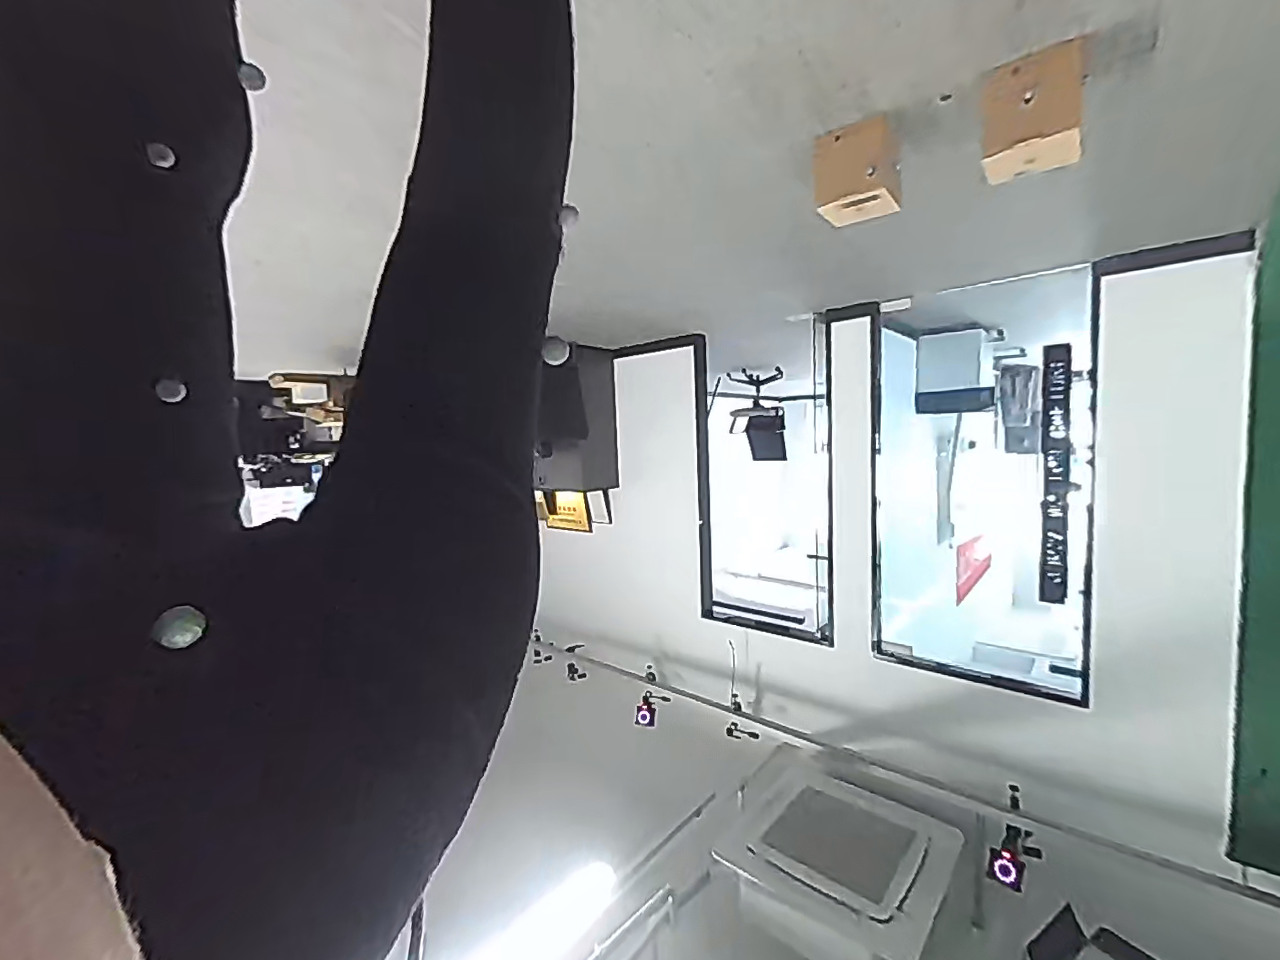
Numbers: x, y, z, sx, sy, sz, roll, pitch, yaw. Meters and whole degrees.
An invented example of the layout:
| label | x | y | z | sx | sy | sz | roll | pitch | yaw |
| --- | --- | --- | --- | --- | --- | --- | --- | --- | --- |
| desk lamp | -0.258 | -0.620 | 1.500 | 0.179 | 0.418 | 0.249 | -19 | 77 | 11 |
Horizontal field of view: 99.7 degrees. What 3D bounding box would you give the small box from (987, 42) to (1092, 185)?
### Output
| label | x | y | z | sx | sy | sz | roll | pitch | yaw |
| --- | --- | --- | --- | --- | --- | --- | --- | --- | --- |
| small box | 0.817 | -0.747 | 1.109 | 0.168 | 0.176 | 0.179 | 2 | -174 | 39 |
